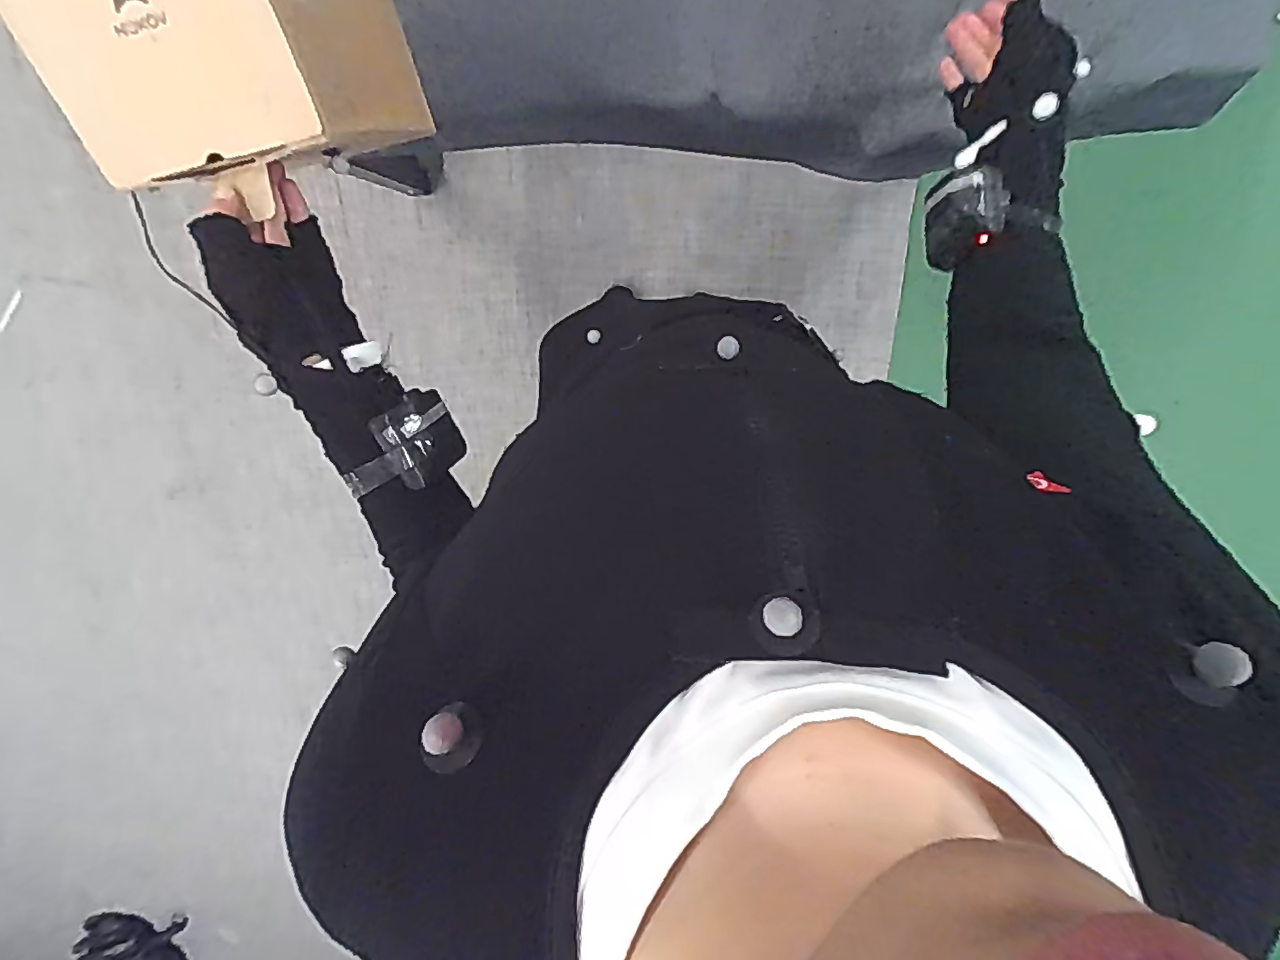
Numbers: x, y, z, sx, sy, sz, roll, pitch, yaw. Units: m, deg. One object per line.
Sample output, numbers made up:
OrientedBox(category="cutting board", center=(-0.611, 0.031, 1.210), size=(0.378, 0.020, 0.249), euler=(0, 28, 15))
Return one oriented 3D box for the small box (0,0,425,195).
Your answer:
OrientedBox(category="small box", center=(-0.277, -0.313, 0.363), size=(0.168, 0.176, 0.179), euler=(-7, 122, 10))
